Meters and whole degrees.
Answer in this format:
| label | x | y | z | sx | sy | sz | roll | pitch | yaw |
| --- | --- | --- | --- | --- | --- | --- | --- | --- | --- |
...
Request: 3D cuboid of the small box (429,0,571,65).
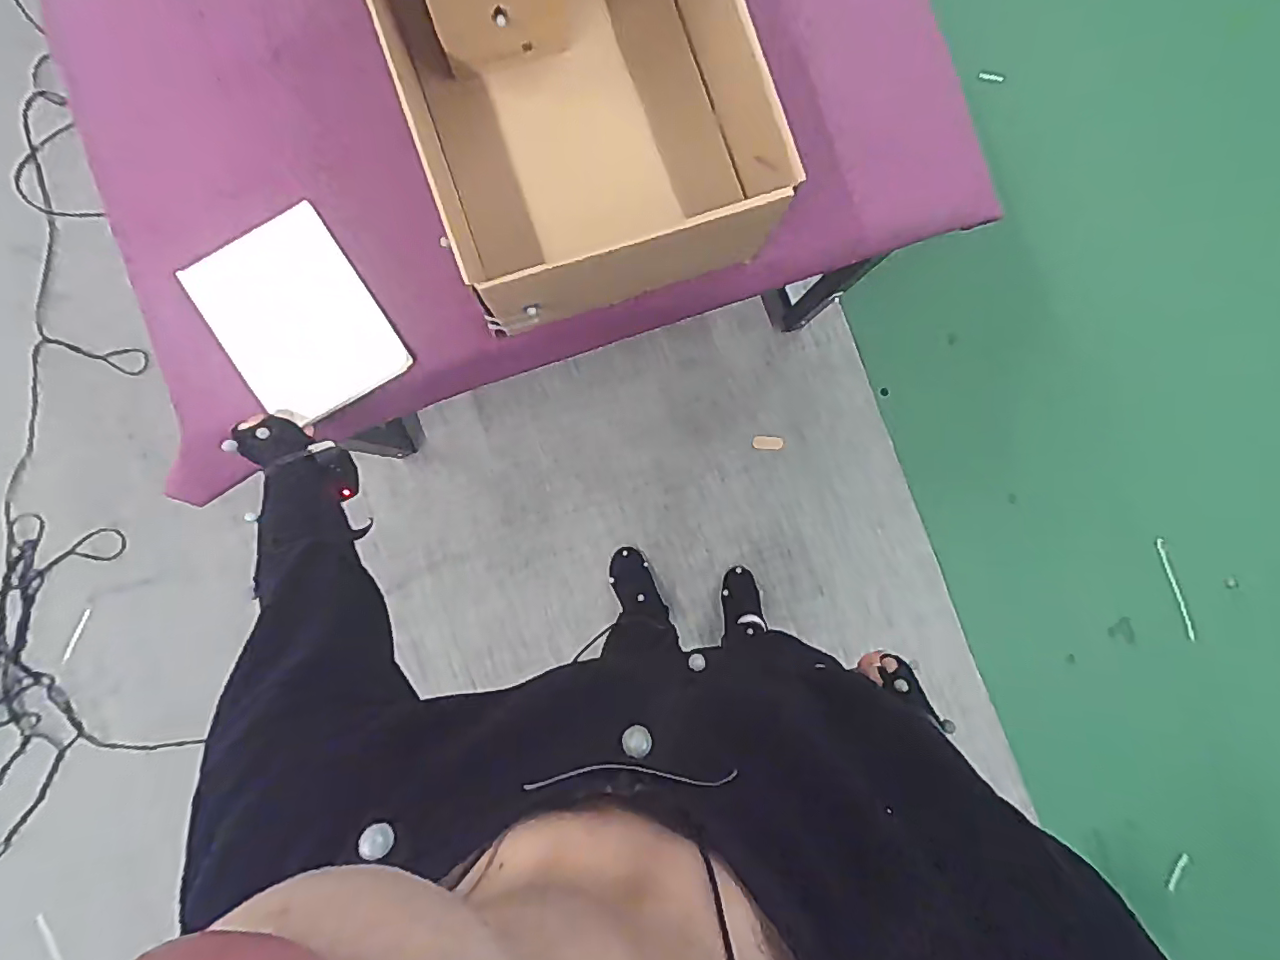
| label | x | y | z | sx | sy | sz | roll | pitch | yaw |
| --- | --- | --- | --- | --- | --- | --- | --- | --- | --- |
| small box | -0.185 | -0.640 | 0.640 | 0.168 | 0.176 | 0.179 | -19 | 91 | -4 |
